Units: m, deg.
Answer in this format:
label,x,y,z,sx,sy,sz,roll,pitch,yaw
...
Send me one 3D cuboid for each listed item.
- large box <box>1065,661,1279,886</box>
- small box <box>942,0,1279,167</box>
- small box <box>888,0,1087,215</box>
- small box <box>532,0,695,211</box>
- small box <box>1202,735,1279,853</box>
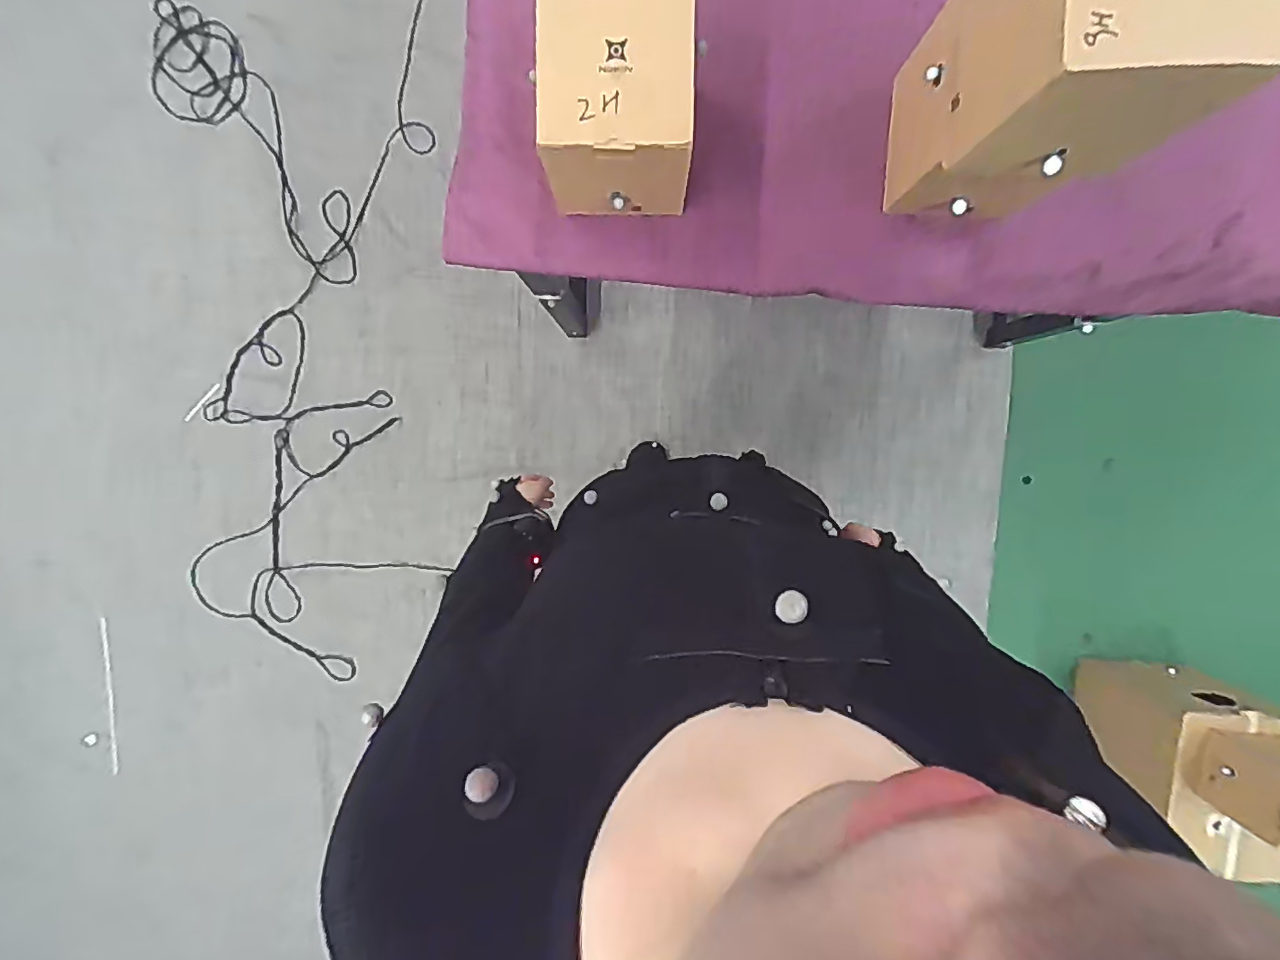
label,x,y,z,sx,sy,sz,roll,pitch,yaw
large box,1.366,0.716,1.374,0.320,0.320,0.408,4,96,1
small box,0.397,-0.393,0.465,0.179,0.176,0.168,0,95,1
small box,0.408,-0.434,0.625,0.168,0.176,0.179,3,95,1
small box,-0.027,-0.440,0.628,0.168,0.176,0.179,1,94,1
small box,1.354,0.657,1.125,0.179,0.176,0.168,6,96,1
